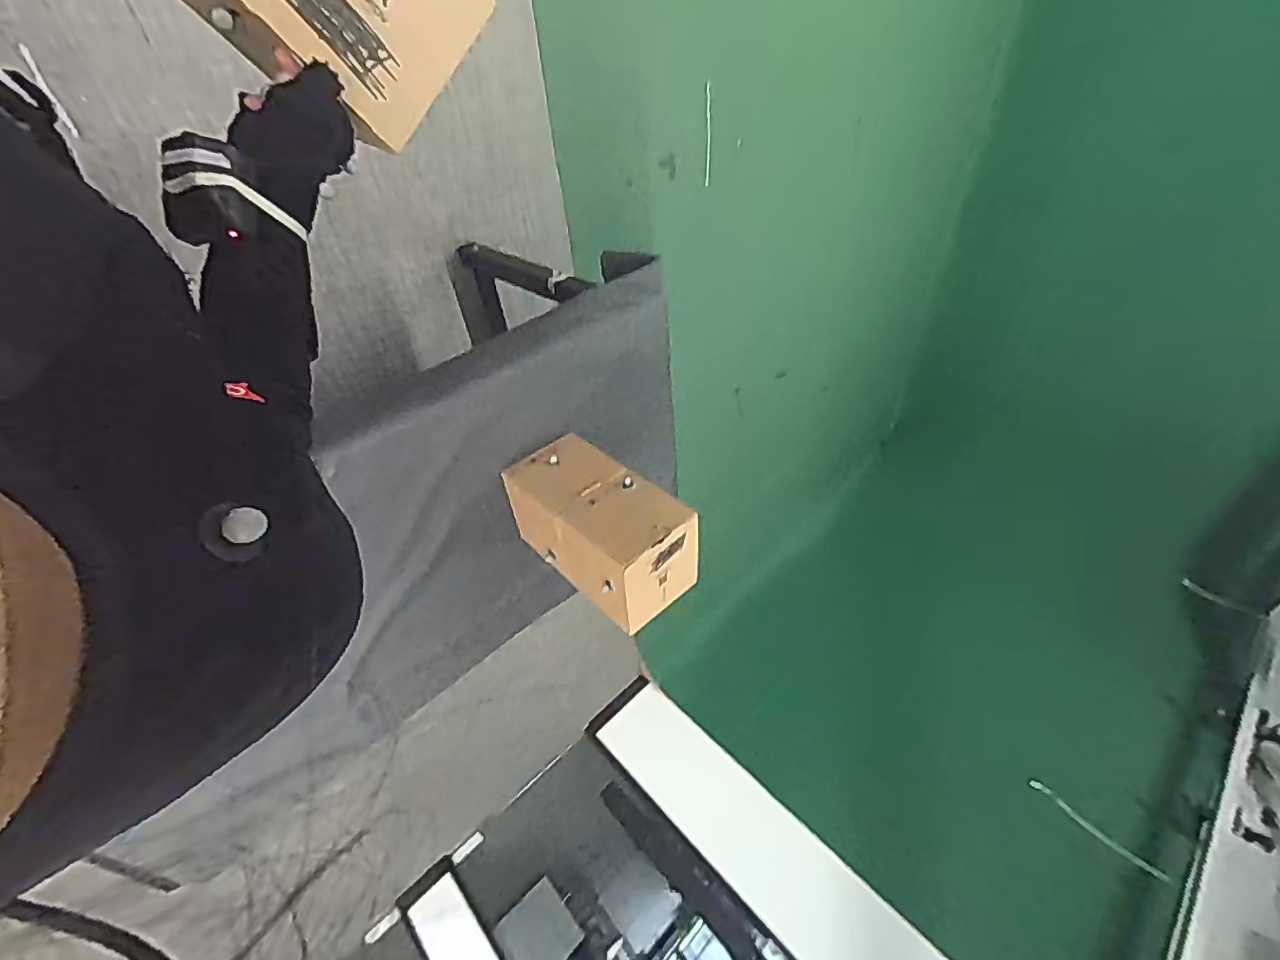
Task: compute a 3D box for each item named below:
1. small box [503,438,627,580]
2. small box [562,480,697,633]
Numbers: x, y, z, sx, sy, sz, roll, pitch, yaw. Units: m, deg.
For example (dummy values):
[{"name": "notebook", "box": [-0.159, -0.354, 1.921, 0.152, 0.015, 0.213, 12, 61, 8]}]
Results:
[{"name": "small box", "box": [-0.135, 0.049, 1.030, 0.168, 0.176, 0.179, -35, 139, -30]}, {"name": "small box", "box": [-0.019, 0.121, 0.938, 0.168, 0.176, 0.179, -33, 139, -30]}]
